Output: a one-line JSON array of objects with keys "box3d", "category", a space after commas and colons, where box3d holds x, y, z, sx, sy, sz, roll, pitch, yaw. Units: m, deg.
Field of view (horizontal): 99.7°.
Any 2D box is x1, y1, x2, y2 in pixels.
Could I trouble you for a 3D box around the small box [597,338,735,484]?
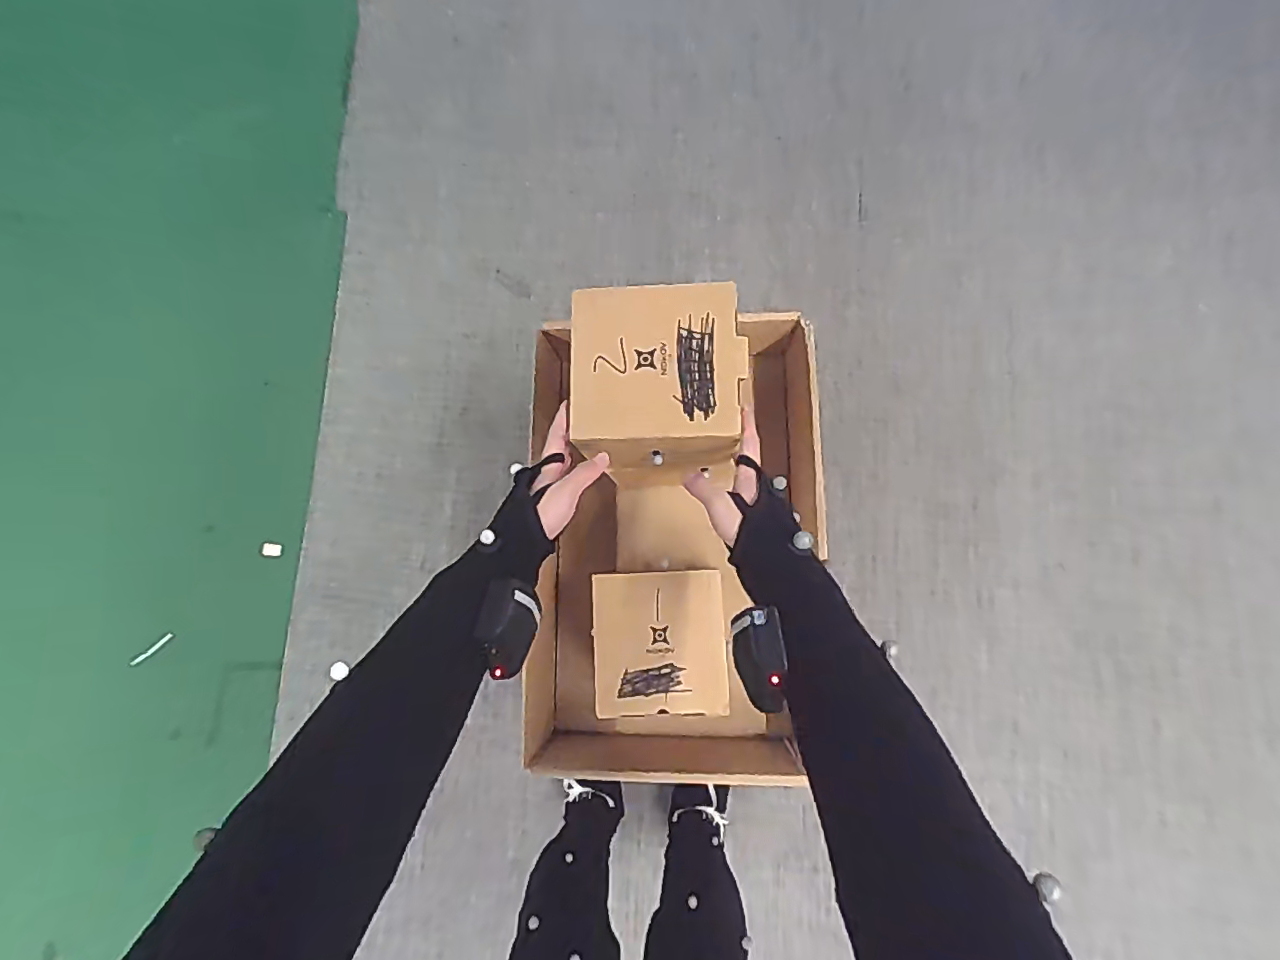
[{"box3d": [0.039, -0.090, 0.790, 0.179, 0.176, 0.168, -4, 81, 4], "category": "small box"}]
